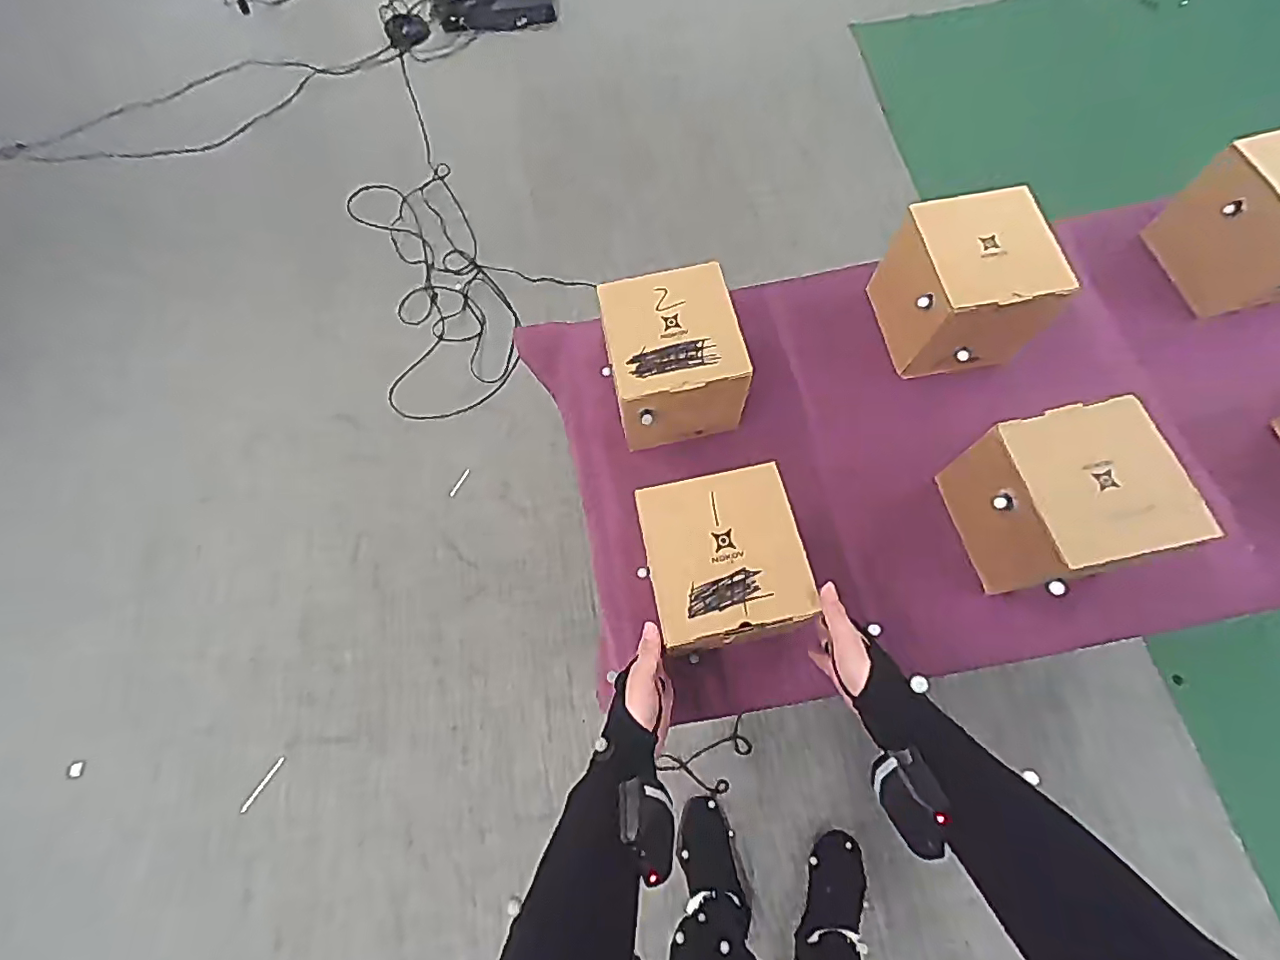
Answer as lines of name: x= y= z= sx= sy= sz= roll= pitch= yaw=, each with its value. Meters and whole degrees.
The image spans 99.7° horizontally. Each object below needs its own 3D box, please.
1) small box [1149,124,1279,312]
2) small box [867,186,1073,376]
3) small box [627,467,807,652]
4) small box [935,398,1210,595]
small box: x=0.893 y=-0.372 z=0.763 sx=0.168 sy=0.176 sz=0.179 roll=-14 pitch=71 yaw=3
small box: x=0.448 y=-0.274 z=0.771 sx=0.168 sy=0.176 sz=0.179 roll=-10 pitch=72 yaw=1
small box: x=0.086 y=0.108 z=0.662 sx=0.168 sy=0.176 sz=0.179 roll=-12 pitch=67 yaw=0
small box: x=0.496 y=0.028 z=0.658 sx=0.168 sy=0.176 sz=0.179 roll=-12 pitch=69 yaw=1
